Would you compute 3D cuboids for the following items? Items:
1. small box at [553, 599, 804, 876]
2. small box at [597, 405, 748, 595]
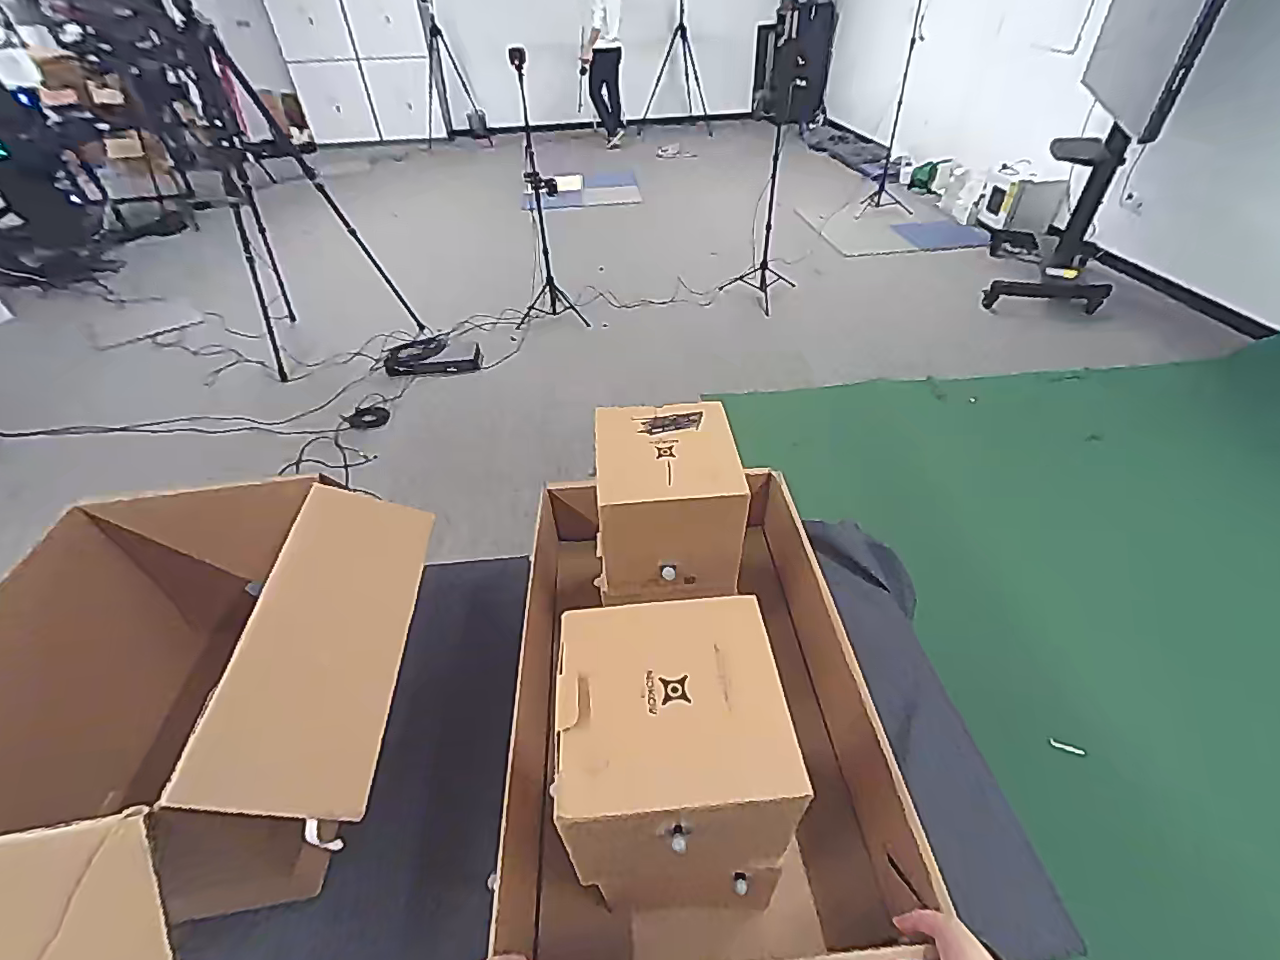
[{"bbox_3d":[0.024,0.227,0.477,0.179,0.176,0.168,-4,43,-3],"label":"small box"},{"bbox_3d":[0.031,0.024,0.690,0.168,0.176,0.179,-4,44,-2],"label":"small box"}]
